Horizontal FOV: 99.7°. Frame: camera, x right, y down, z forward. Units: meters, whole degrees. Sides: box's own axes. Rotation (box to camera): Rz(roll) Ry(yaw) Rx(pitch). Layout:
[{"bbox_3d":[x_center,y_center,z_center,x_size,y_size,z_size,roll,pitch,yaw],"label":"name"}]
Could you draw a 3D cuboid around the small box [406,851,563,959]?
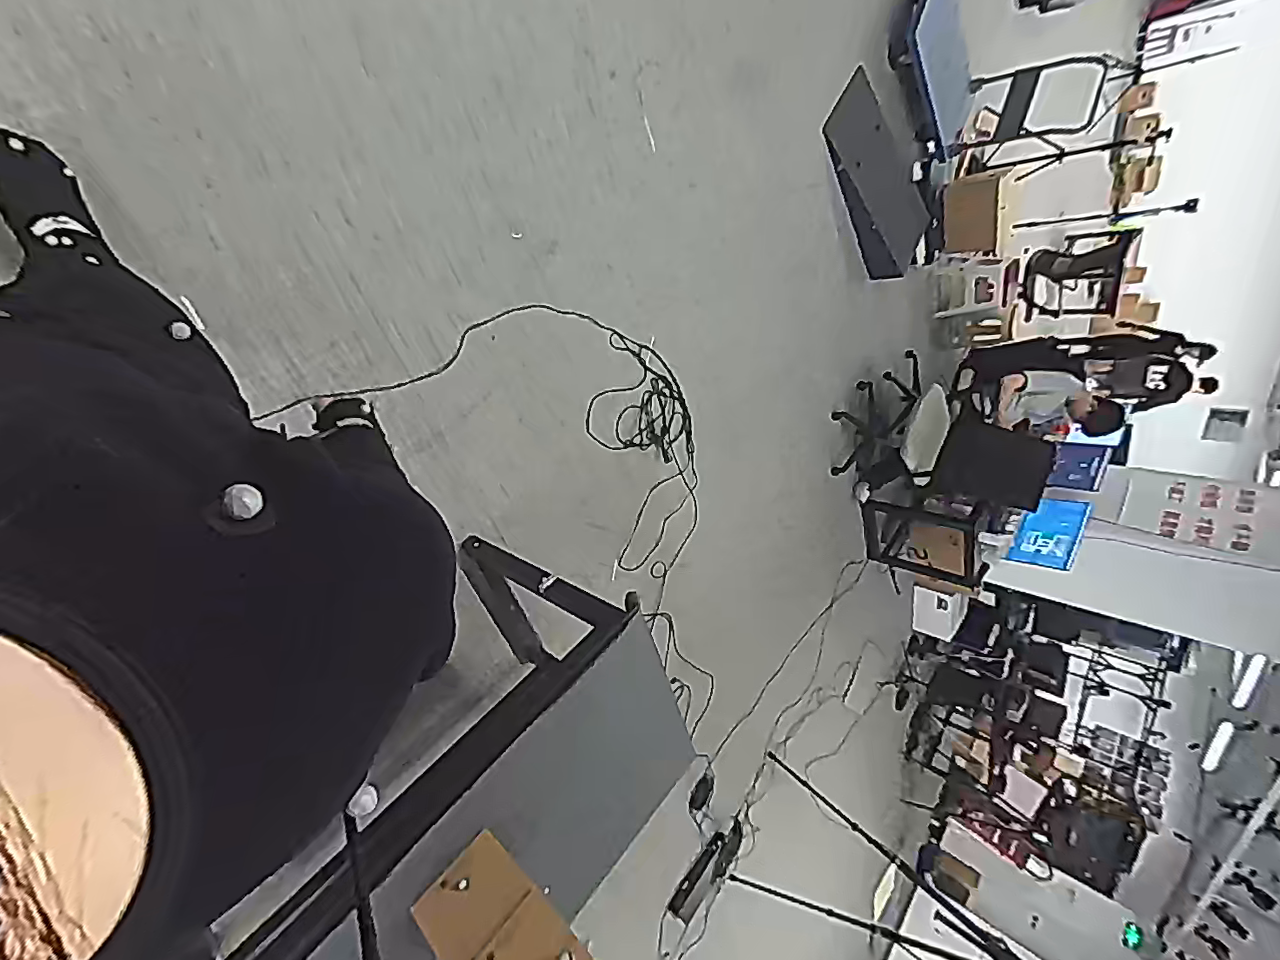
[{"bbox_3d":[-0.268,0.799,0.939,0.168,0.176,0.179,-39,126,-34],"label":"small box"}]
